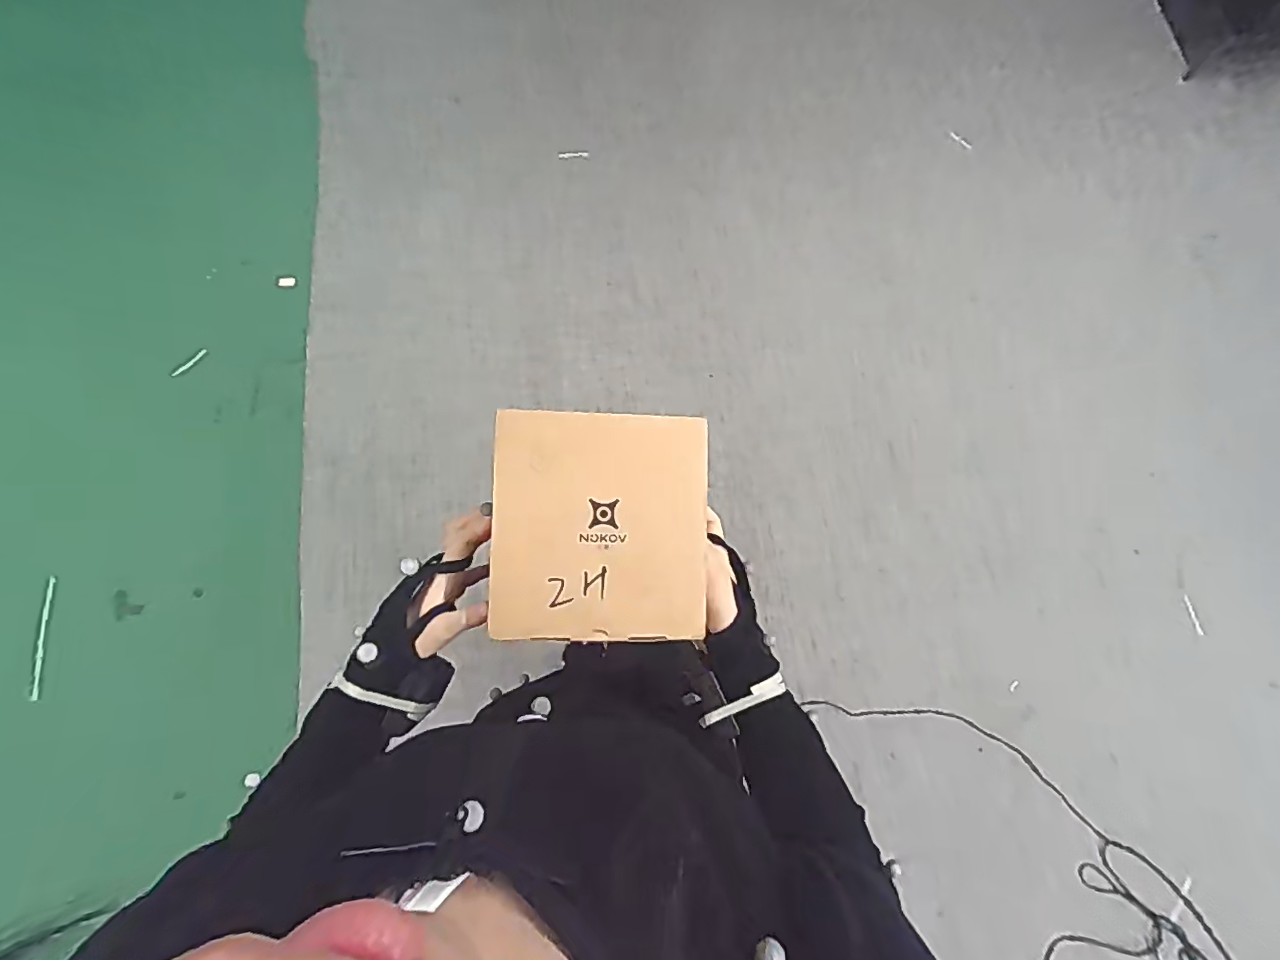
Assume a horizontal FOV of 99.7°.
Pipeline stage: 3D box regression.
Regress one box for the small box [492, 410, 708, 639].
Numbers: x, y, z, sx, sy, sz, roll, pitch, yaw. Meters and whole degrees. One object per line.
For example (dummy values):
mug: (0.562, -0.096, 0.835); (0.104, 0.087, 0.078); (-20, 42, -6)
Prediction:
small box: (-0.038, 0.041, 0.502); (0.168, 0.176, 0.179); (2, 86, -7)
